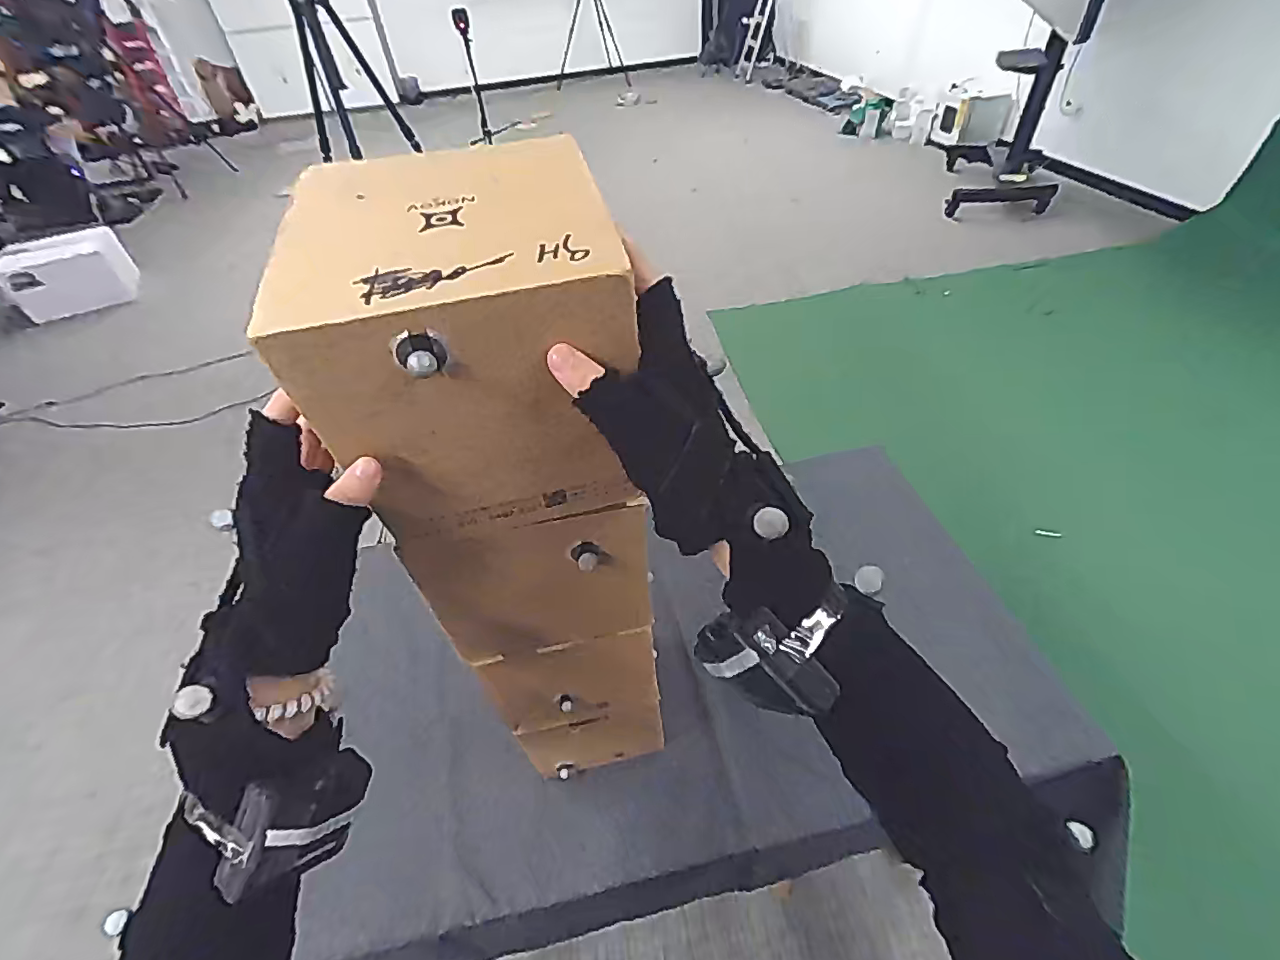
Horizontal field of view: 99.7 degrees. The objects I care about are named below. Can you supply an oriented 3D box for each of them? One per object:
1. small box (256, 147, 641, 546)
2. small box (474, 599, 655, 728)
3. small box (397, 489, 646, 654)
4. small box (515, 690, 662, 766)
[{"bbox_3d":[-0.099,-0.085,0.352,0.168,0.176,0.179,-13,51,-5],"label":"small box"},{"bbox_3d":[-0.082,0.148,0.611,0.168,0.176,0.179,-11,46,-5],"label":"small box"},{"bbox_3d":[-0.092,0.034,0.492,0.179,0.176,0.168,-10,45,-4],"label":"small box"},{"bbox_3d":[-0.070,0.261,0.727,0.168,0.176,0.179,-12,45,-5],"label":"small box"}]
